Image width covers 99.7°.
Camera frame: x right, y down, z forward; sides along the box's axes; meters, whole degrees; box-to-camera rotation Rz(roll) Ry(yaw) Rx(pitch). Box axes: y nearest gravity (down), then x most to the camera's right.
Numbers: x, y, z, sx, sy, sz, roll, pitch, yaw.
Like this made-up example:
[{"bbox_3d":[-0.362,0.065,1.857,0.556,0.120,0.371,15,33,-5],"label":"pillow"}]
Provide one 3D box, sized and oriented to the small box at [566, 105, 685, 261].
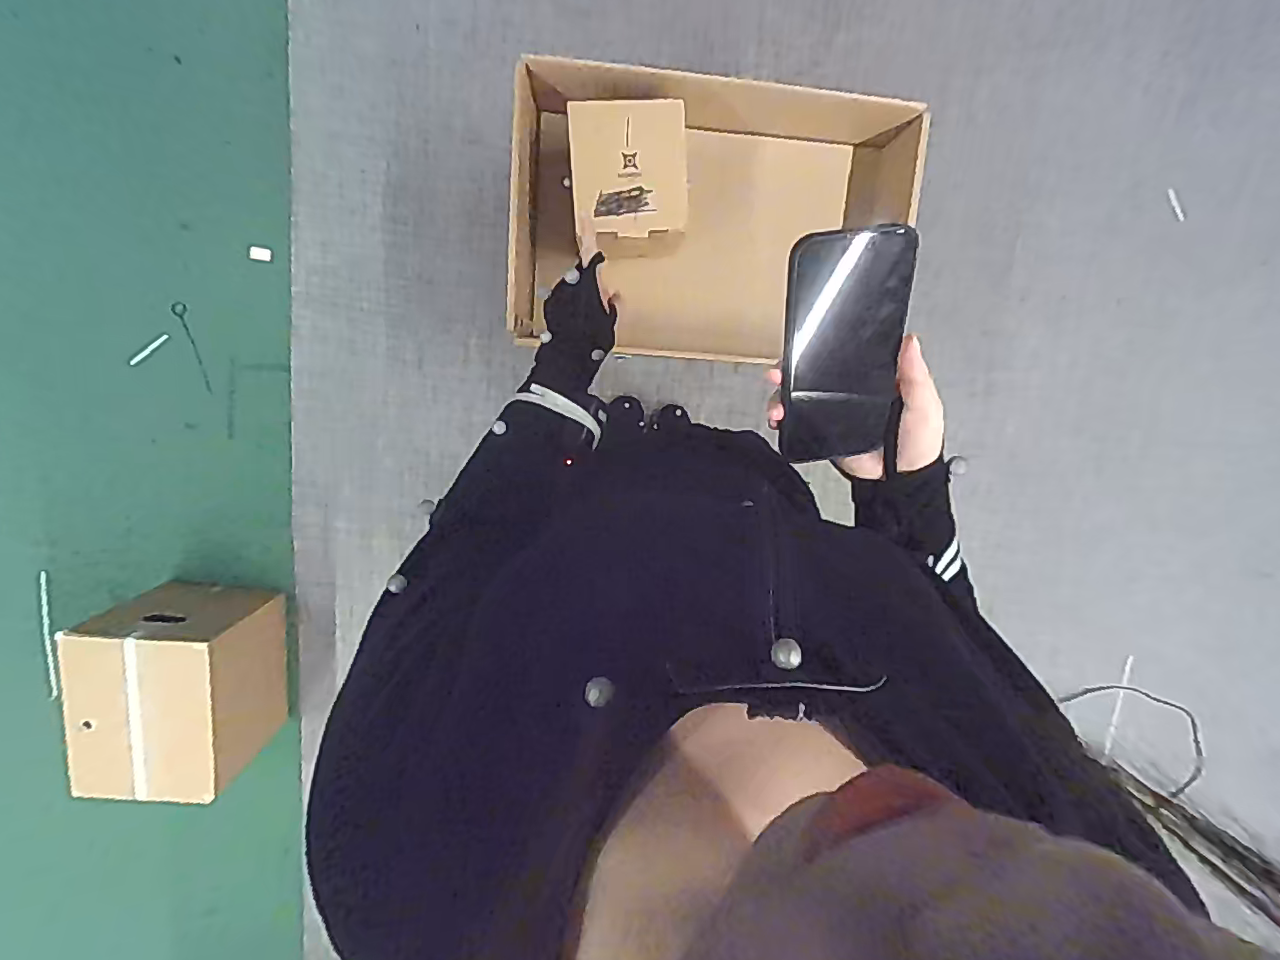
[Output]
[{"bbox_3d":[-0.022,-0.448,0.844,0.168,0.176,0.179,-4,99,-3],"label":"small box"}]
